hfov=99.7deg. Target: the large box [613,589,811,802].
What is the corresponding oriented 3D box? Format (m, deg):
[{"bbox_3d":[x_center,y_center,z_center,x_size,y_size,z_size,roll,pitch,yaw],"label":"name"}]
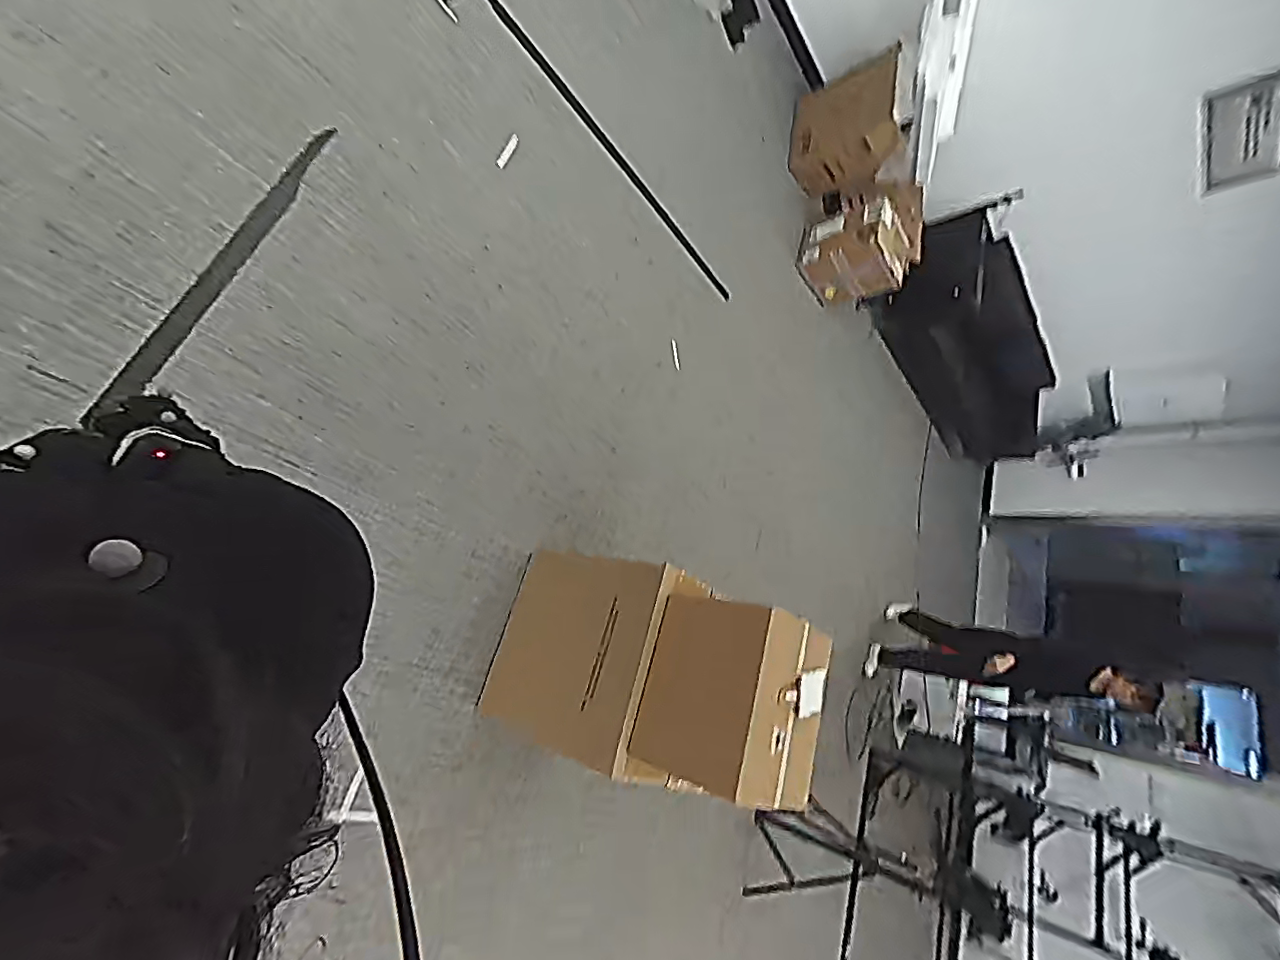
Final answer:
[{"bbox_3d":[0.185,0.516,1.335,0.320,0.320,0.408,34,65,-40],"label":"large box"}]
